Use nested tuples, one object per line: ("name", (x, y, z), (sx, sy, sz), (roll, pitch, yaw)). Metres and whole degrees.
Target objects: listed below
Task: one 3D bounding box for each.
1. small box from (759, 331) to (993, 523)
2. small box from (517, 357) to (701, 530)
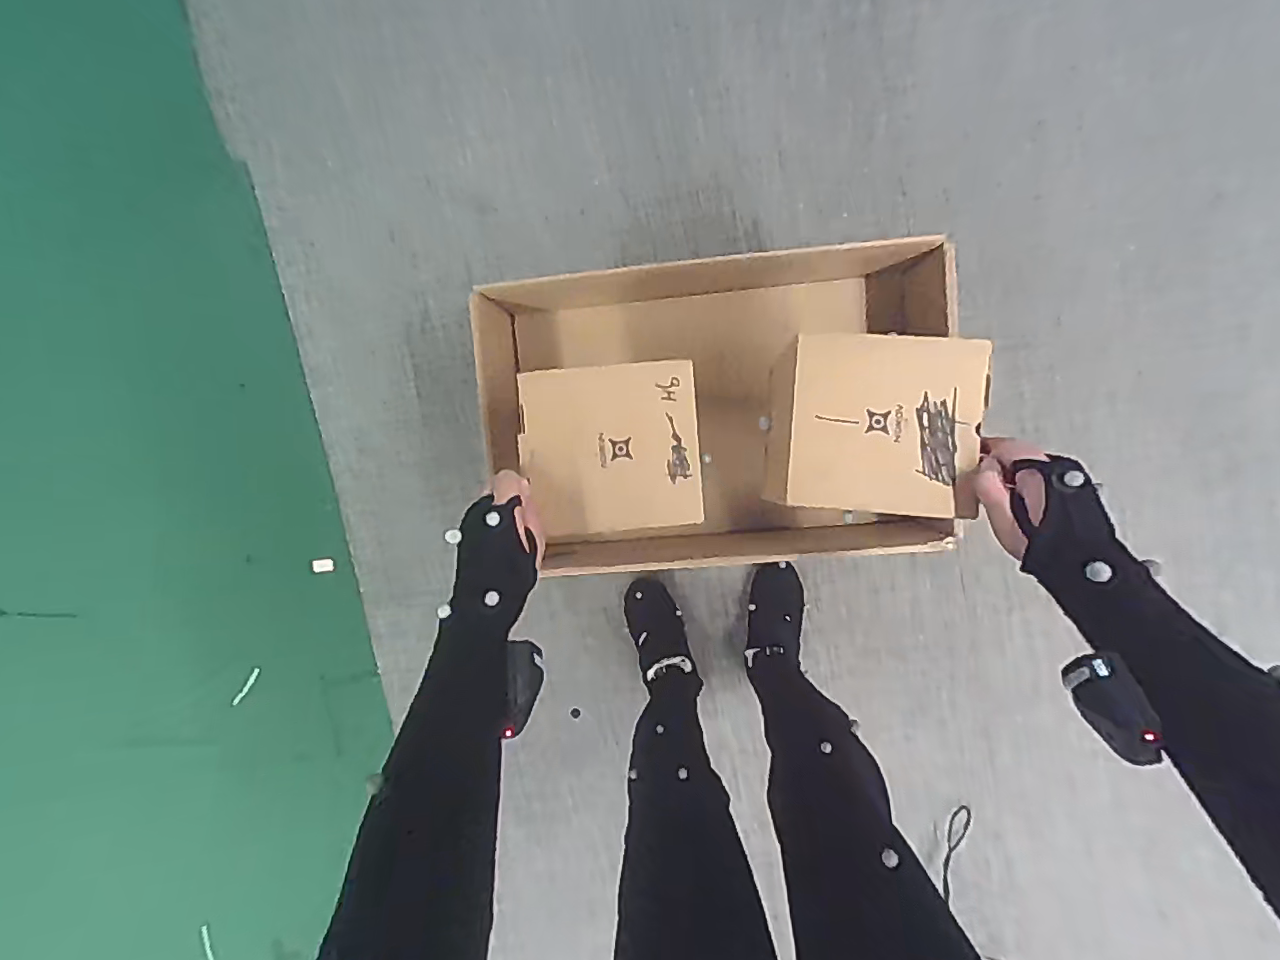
("small box", (0.231, -0.050, 0.572), (0.179, 0.176, 0.168), (5, 90, 5))
("small box", (-0.030, -0.038, 0.609), (0.179, 0.176, 0.168), (-4, 93, -1))
